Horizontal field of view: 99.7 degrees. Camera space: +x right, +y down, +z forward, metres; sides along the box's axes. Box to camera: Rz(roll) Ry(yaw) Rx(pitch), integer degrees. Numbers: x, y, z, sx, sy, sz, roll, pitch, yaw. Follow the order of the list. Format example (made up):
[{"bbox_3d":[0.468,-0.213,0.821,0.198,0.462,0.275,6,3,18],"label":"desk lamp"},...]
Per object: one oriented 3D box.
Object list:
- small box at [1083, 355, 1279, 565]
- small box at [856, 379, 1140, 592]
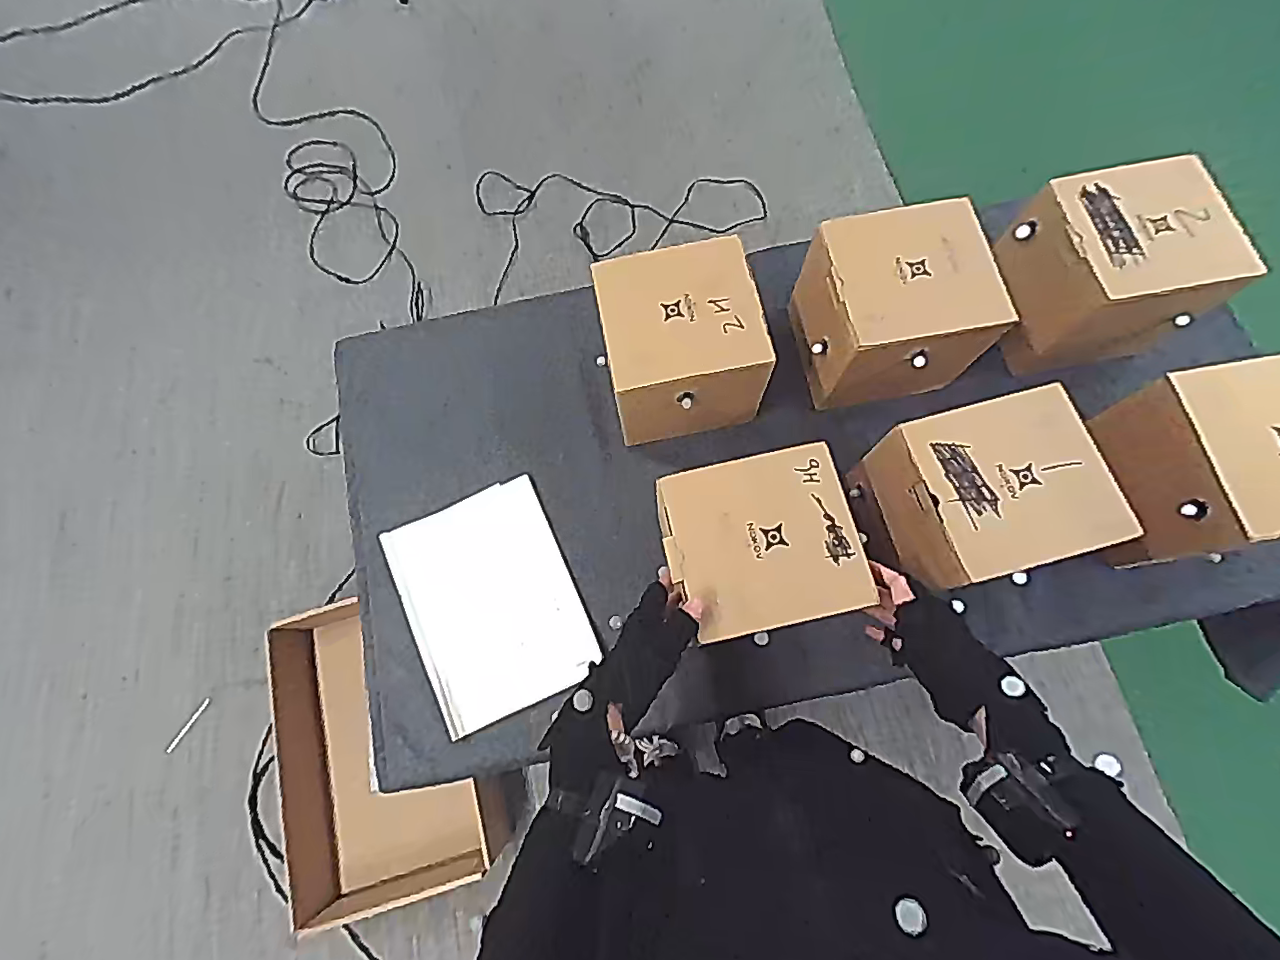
[{"bbox_3d":[0.620,-0.015,0.593,0.168,0.176,0.179,-9,73,0],"label":"small box"},{"bbox_3d":[0.360,0.018,0.592,0.179,0.176,0.168,-14,73,-3],"label":"small box"}]
